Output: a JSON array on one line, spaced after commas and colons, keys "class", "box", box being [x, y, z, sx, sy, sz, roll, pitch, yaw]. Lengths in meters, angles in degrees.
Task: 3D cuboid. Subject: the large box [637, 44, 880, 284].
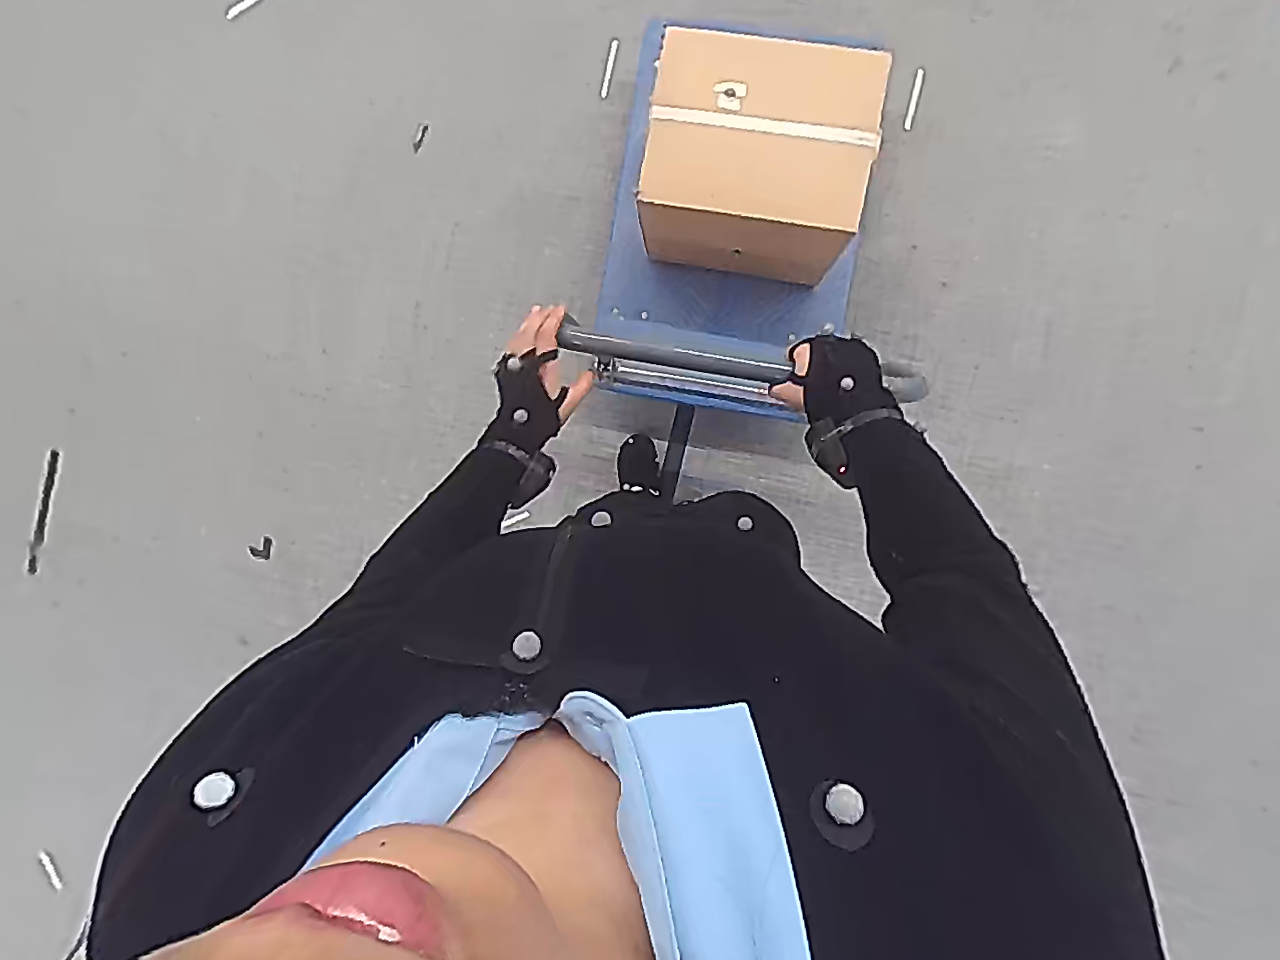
[{"class": "large box", "box": [0.230, -0.634, 1.139, 0.408, 0.320, 0.320, 11, 92, 5]}]
